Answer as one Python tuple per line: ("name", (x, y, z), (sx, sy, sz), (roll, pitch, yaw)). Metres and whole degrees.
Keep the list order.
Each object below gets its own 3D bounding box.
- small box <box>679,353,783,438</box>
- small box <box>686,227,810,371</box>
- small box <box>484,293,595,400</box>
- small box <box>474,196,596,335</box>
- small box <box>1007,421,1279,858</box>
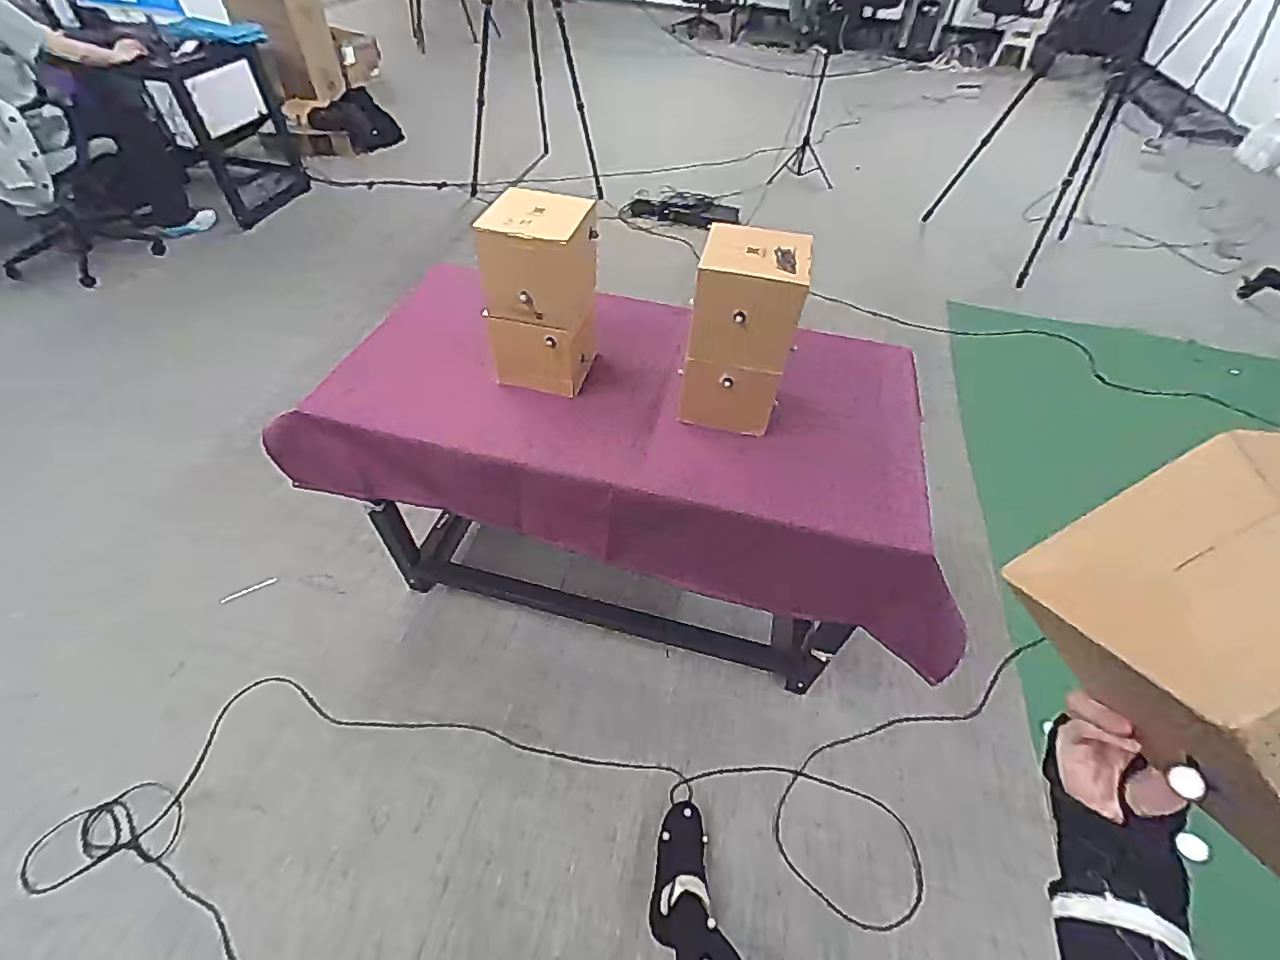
("small box", (0.180, -0.203, 1.067), (0.179, 0.176, 0.168), (12, 50, 7))
("small box", (0.186, -0.312, 0.943), (0.179, 0.176, 0.168), (11, 50, 8))
("small box", (-0.199, -0.286, 1.123), (0.179, 0.176, 0.168), (11, 49, 6))
("small box", (-0.184, -0.396, 1.000), (0.168, 0.176, 0.179), (11, 49, 7))
("small box", (0.352, 0.085, 0.293), (0.168, 0.179, 0.176), (-38, 94, 12))
